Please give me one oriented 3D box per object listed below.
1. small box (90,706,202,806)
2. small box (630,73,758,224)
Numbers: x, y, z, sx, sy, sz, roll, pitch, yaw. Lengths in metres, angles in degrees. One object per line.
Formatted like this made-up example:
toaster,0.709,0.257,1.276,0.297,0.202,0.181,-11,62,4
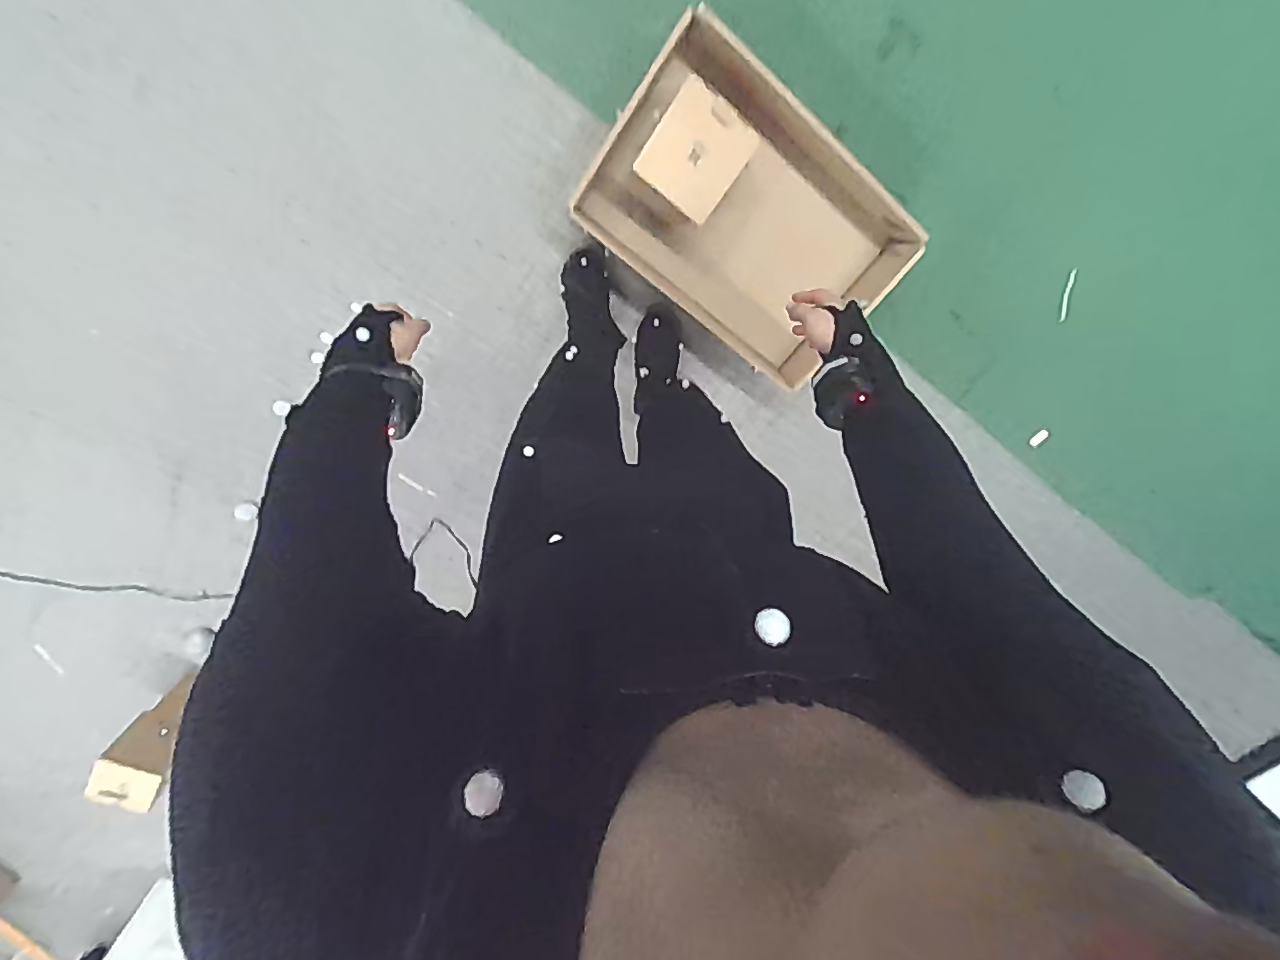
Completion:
small box,-1.439,0.804,1.585,0.168,0.176,0.179,29,111,-16
small box,0.096,-0.621,1.035,0.168,0.176,0.179,32,113,-17
